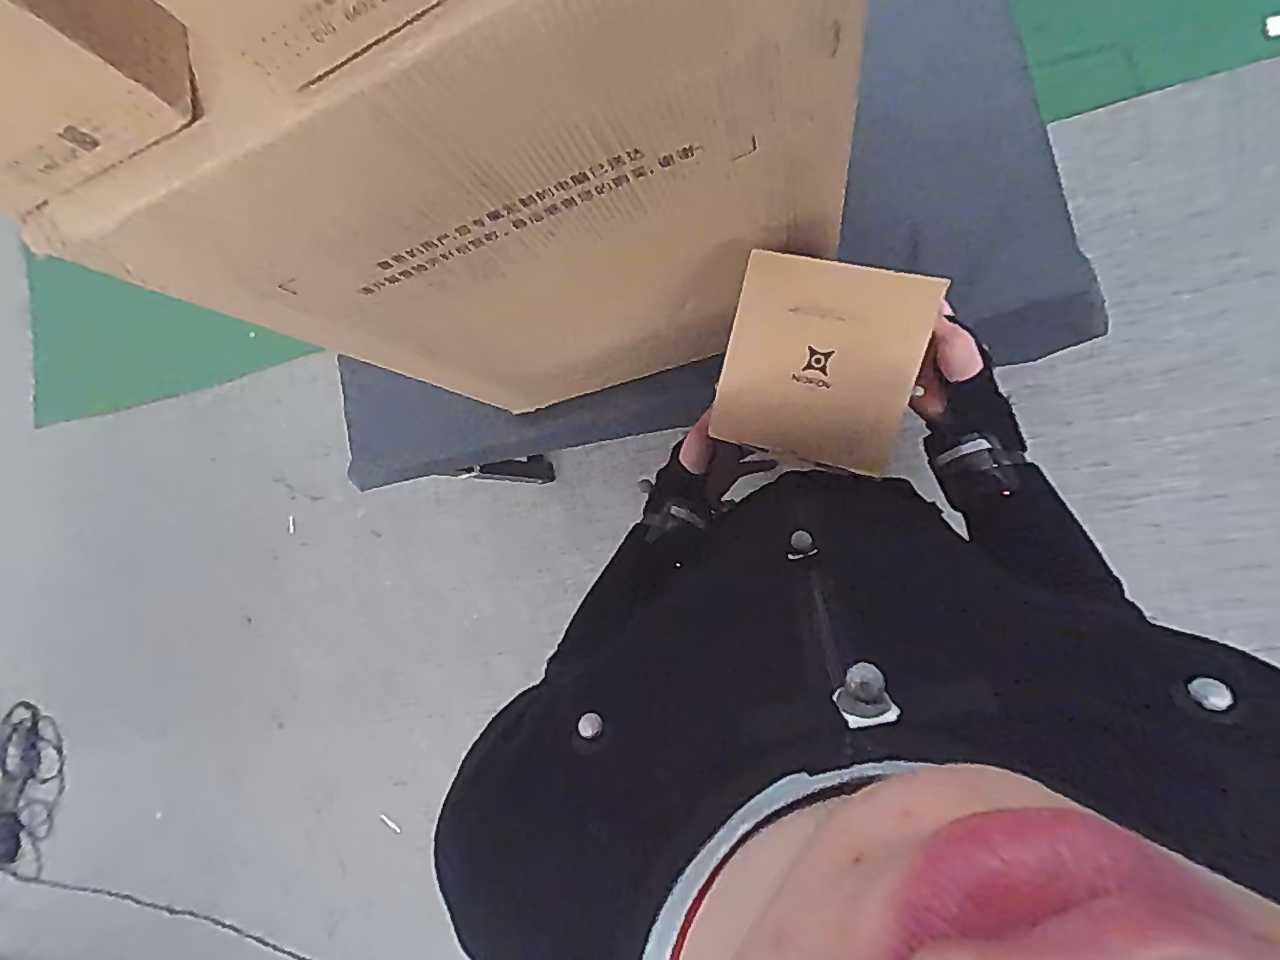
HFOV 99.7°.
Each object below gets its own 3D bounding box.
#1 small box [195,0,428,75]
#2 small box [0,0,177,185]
[{"bbox_3d":[-0.156,-0.309,0.191,0.168,0.176,0.179,-18,85,14],"label":"small box"},{"bbox_3d":[-0.360,-0.271,0.249,0.168,0.176,0.179,-12,85,16],"label":"small box"}]
